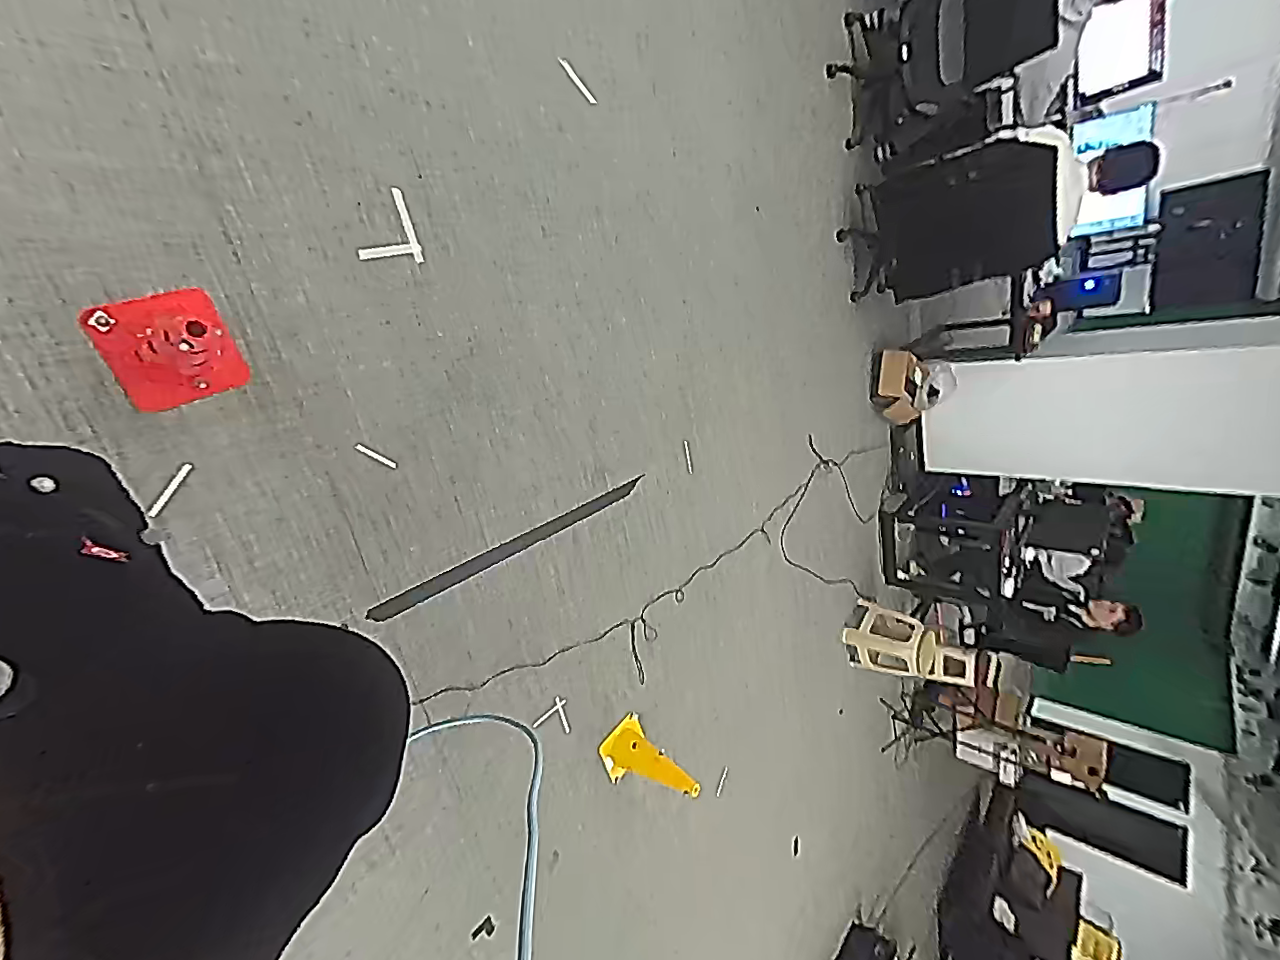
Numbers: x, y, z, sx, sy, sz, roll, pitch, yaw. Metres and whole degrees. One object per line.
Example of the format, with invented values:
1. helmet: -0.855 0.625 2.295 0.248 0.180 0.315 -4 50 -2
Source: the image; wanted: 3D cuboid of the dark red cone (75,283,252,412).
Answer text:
1. dark red cone: -0.760 -0.232 0.899 0.202 0.394 0.201 -36 121 -37
